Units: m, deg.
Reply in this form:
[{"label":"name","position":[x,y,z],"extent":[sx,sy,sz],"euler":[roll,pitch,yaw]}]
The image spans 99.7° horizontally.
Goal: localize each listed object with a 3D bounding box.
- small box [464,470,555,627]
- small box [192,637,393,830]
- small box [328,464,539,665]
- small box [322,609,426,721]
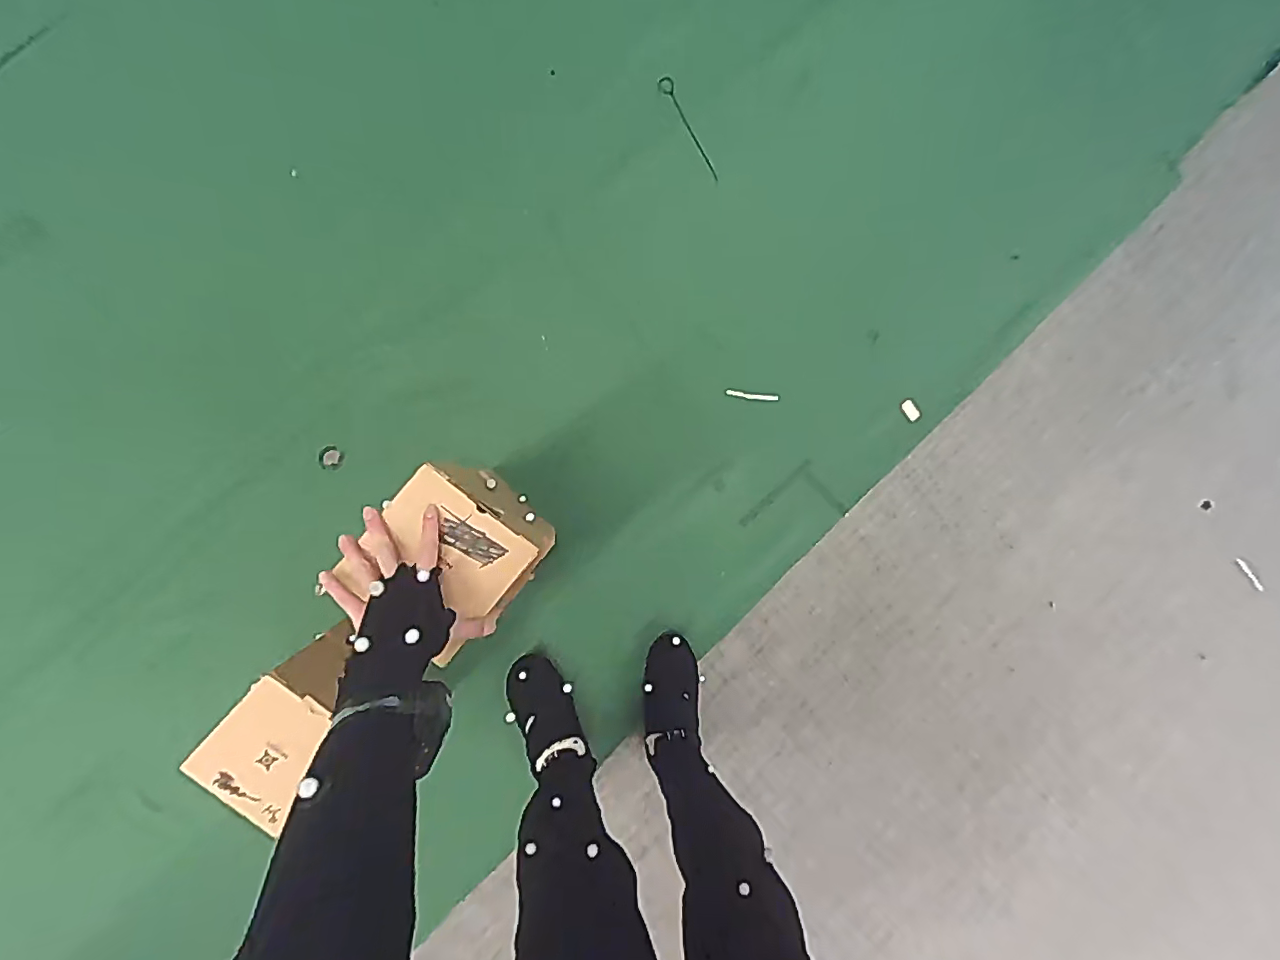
[{"label":"small box","position":[-0.252,0.099,0.861],"extent":[0.179,0.176,0.168],"euler":[37,87,-8]},{"label":"small box","position":[-0.514,0.376,0.837],"extent":[0.168,0.176,0.179],"euler":[42,86,-6]},{"label":"small box","position":[-0.245,0.094,0.695],"extent":[0.168,0.176,0.179],"euler":[40,87,-7]},{"label":"small box","position":[-0.531,0.368,1.000],"extent":[0.179,0.176,0.168],"euler":[45,87,-6]}]
